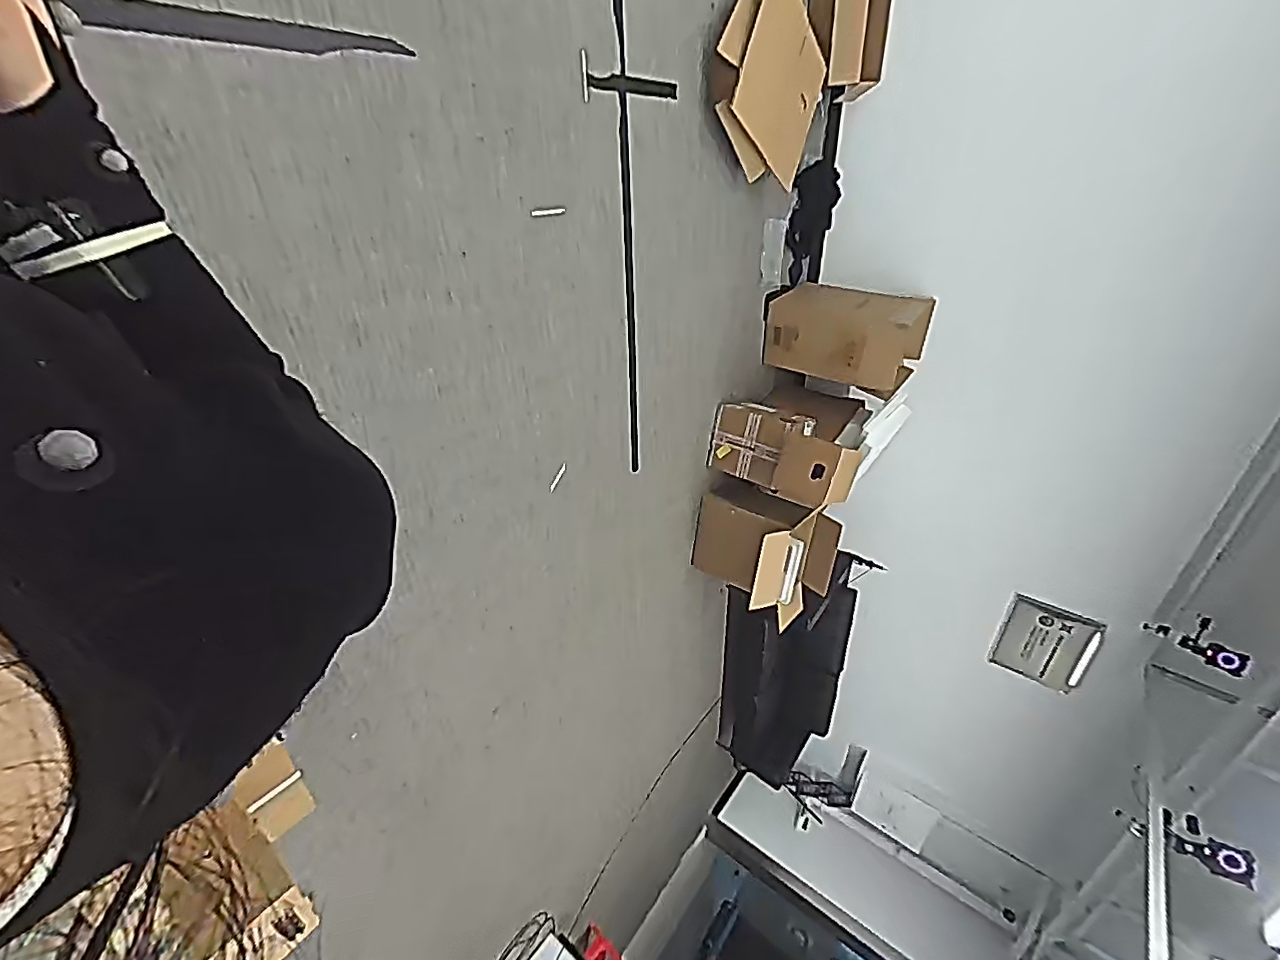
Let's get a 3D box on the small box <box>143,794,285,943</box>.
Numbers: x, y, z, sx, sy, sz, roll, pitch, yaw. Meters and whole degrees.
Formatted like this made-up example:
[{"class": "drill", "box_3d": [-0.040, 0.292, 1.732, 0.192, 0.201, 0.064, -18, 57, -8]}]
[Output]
[{"class": "small box", "box_3d": [-0.938, 0.846, 1.194, 0.179, 0.176, 0.168, -35, 132, -41]}]
